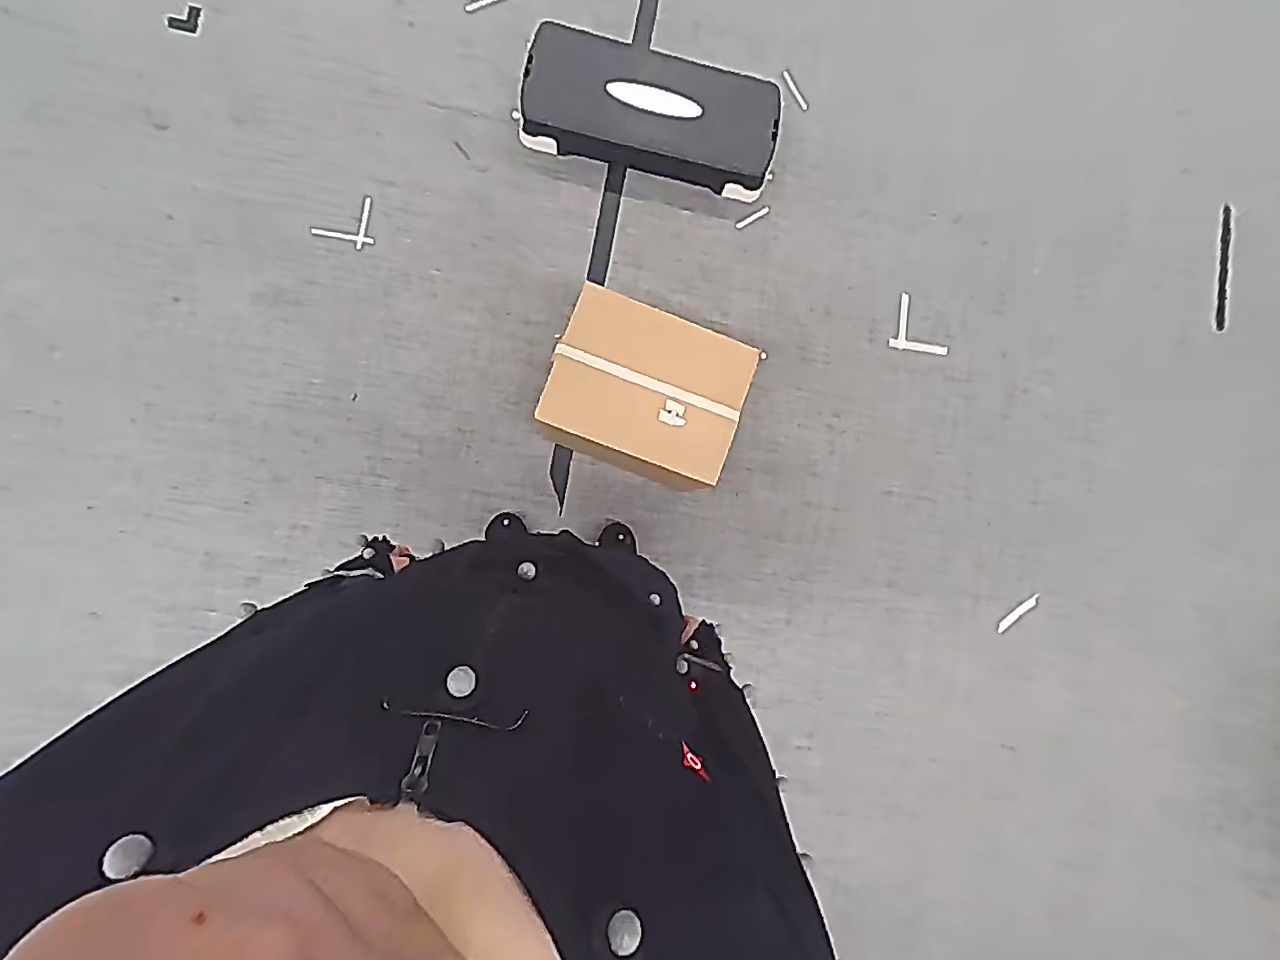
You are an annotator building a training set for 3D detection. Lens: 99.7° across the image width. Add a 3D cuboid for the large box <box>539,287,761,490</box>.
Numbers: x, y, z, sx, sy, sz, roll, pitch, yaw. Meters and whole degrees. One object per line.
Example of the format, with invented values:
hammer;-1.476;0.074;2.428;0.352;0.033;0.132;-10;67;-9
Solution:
large box;0.007;-0.188;1.275;0.408;0.320;0.320;20;85;-5
